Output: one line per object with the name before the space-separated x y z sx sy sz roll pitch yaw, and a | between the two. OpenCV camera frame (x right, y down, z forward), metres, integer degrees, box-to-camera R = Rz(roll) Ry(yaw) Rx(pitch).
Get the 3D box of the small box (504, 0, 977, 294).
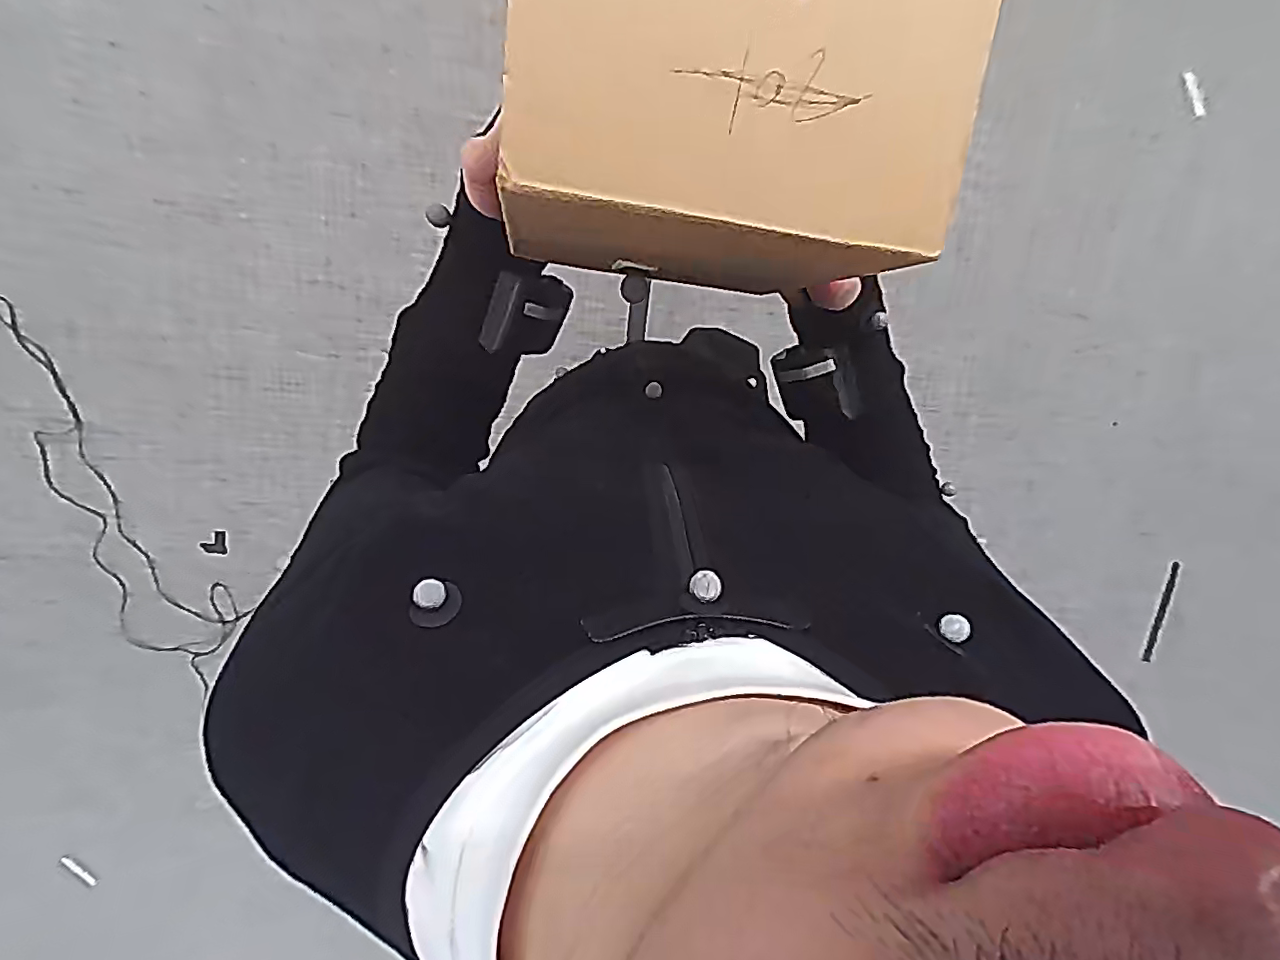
small box | 0.027 -0.196 0.258 0.168 0.176 0.179 4 104 -11
